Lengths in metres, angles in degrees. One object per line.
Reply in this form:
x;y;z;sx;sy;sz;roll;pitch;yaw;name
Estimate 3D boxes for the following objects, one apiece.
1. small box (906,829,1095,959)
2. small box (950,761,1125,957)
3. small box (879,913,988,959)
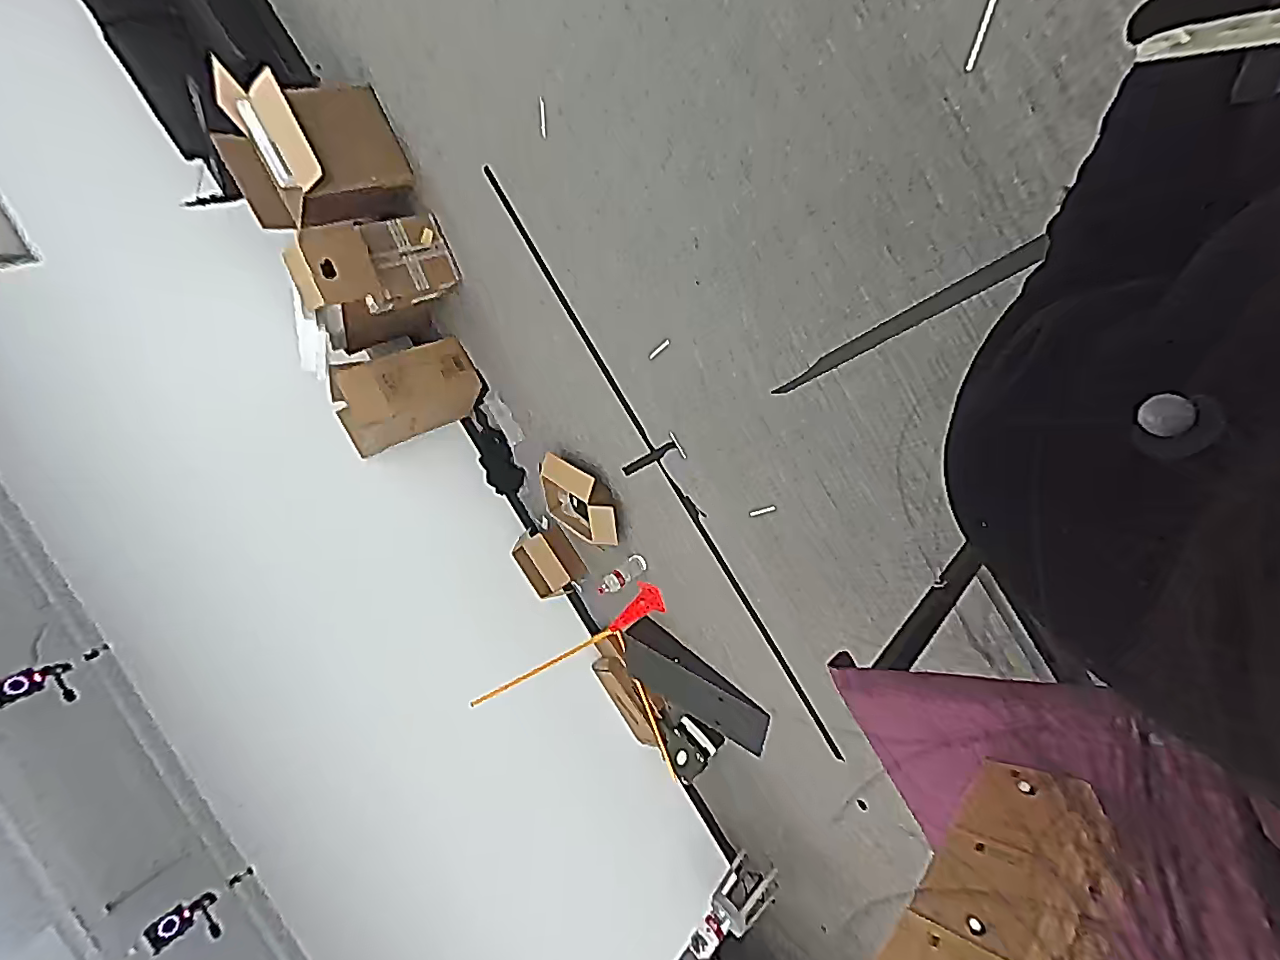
0.550;0.689;0.823;0.168;0.176;0.179;-18;102;57;small box
0.671;0.620;0.910;0.168;0.176;0.179;-22;98;57;small box
0.429;0.756;0.736;0.168;0.176;0.179;-19;102;57;small box
